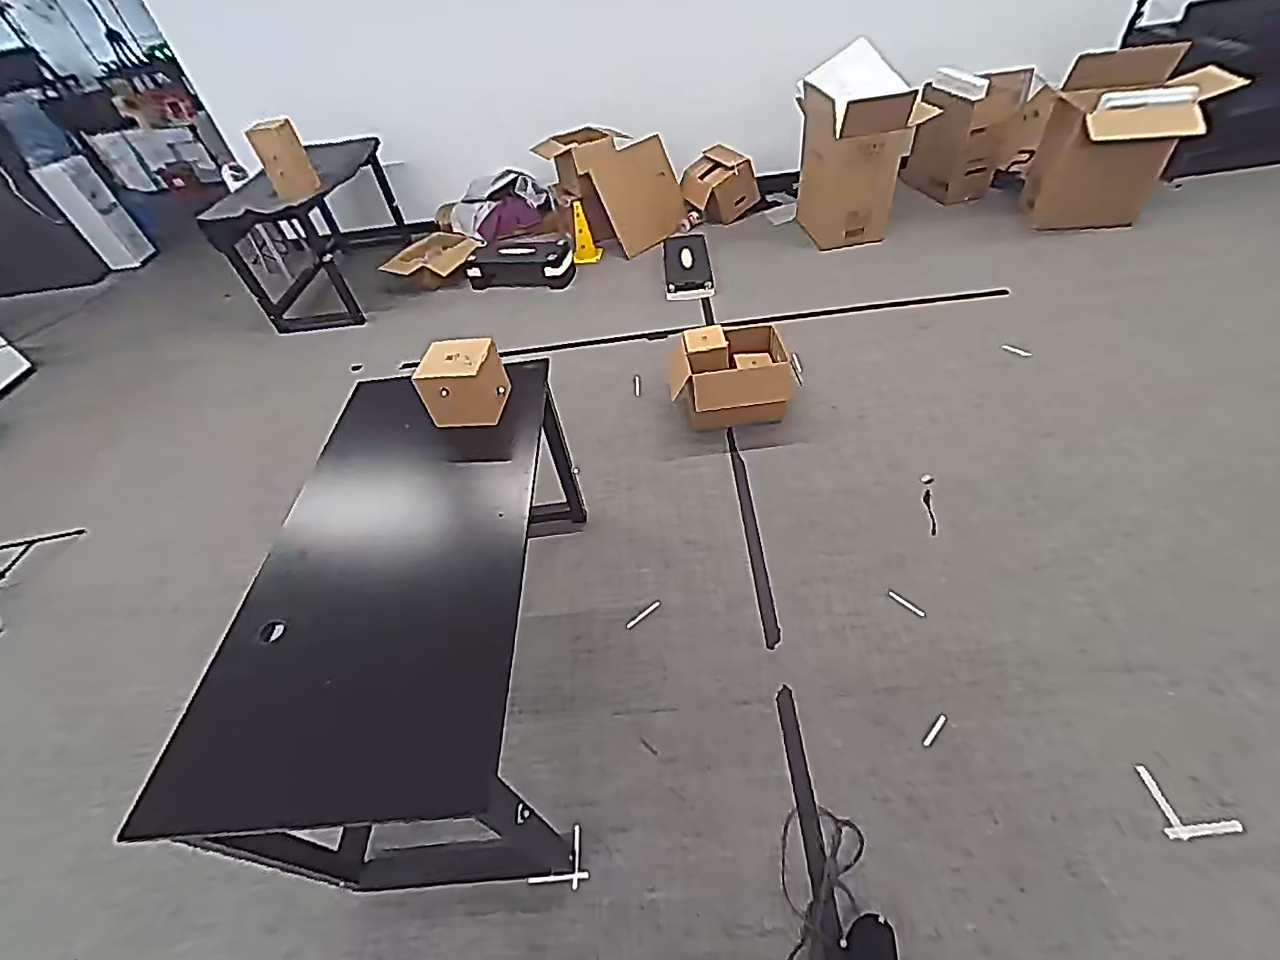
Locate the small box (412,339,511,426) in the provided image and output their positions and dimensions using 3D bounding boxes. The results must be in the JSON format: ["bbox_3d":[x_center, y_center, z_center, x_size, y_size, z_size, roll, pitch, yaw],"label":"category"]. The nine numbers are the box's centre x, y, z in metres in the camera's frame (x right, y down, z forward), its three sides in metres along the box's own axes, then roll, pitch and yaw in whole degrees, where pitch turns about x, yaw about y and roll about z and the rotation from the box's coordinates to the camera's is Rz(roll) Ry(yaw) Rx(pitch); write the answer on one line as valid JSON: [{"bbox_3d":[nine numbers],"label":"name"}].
[{"bbox_3d":[-0.471,-0.259,1.453,0.179,0.176,0.168,-1,48,8],"label":"small box"}]
